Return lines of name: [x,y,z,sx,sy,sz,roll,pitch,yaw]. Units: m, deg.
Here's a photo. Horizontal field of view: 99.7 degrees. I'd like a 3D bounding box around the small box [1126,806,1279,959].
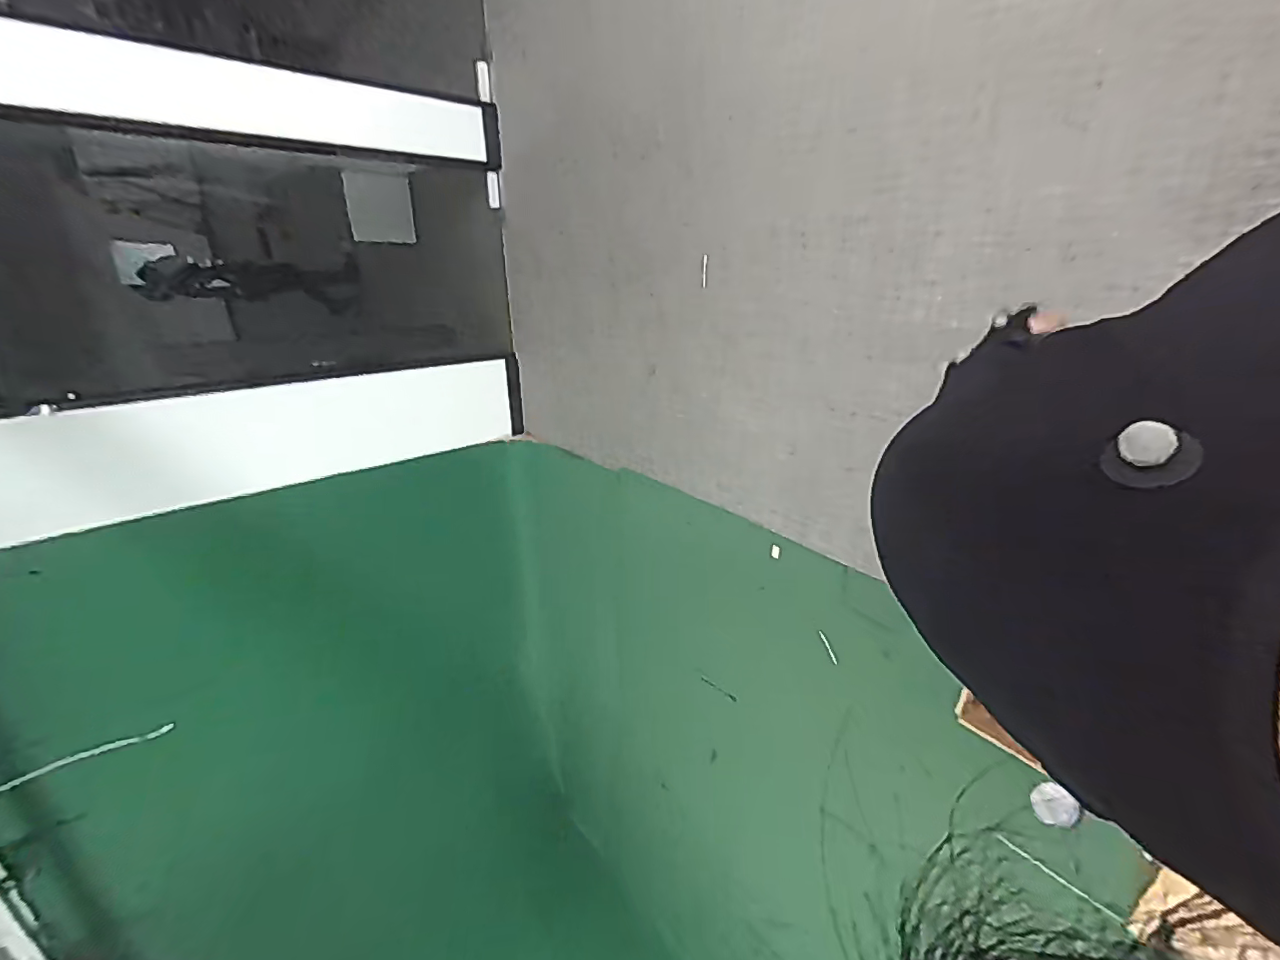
small box: [0.925,0.658,0.853,0.179,0.176,0.168,27,124,44]
